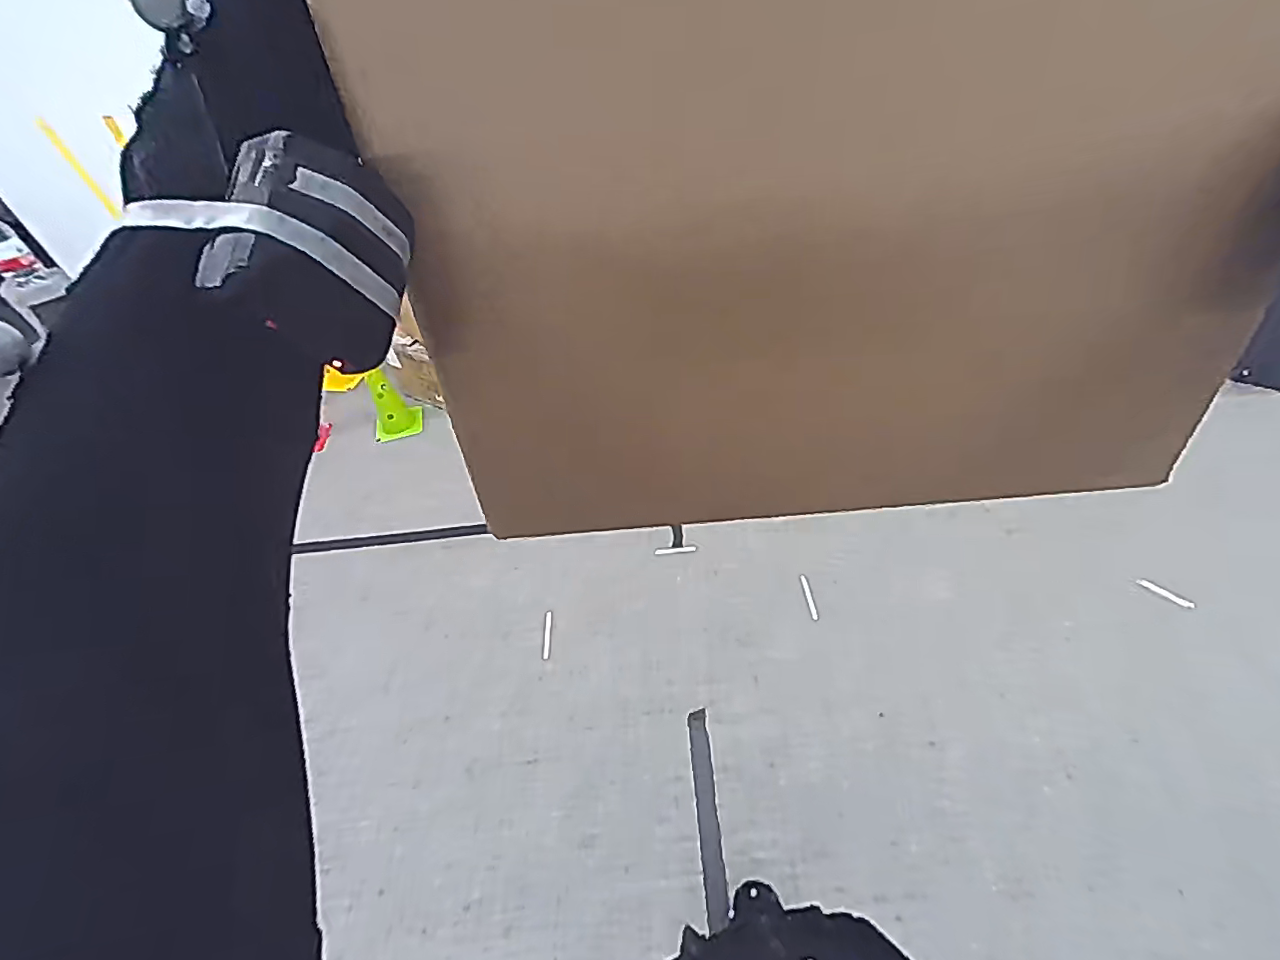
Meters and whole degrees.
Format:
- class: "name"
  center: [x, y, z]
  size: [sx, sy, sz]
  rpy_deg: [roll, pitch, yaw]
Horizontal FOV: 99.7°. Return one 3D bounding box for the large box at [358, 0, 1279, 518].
- class: "large box"
  center: [0.091, -0.198, 0.374]
  size: [0.408, 0.320, 0.320]
  rpy_deg: [-5, 36, 1]
